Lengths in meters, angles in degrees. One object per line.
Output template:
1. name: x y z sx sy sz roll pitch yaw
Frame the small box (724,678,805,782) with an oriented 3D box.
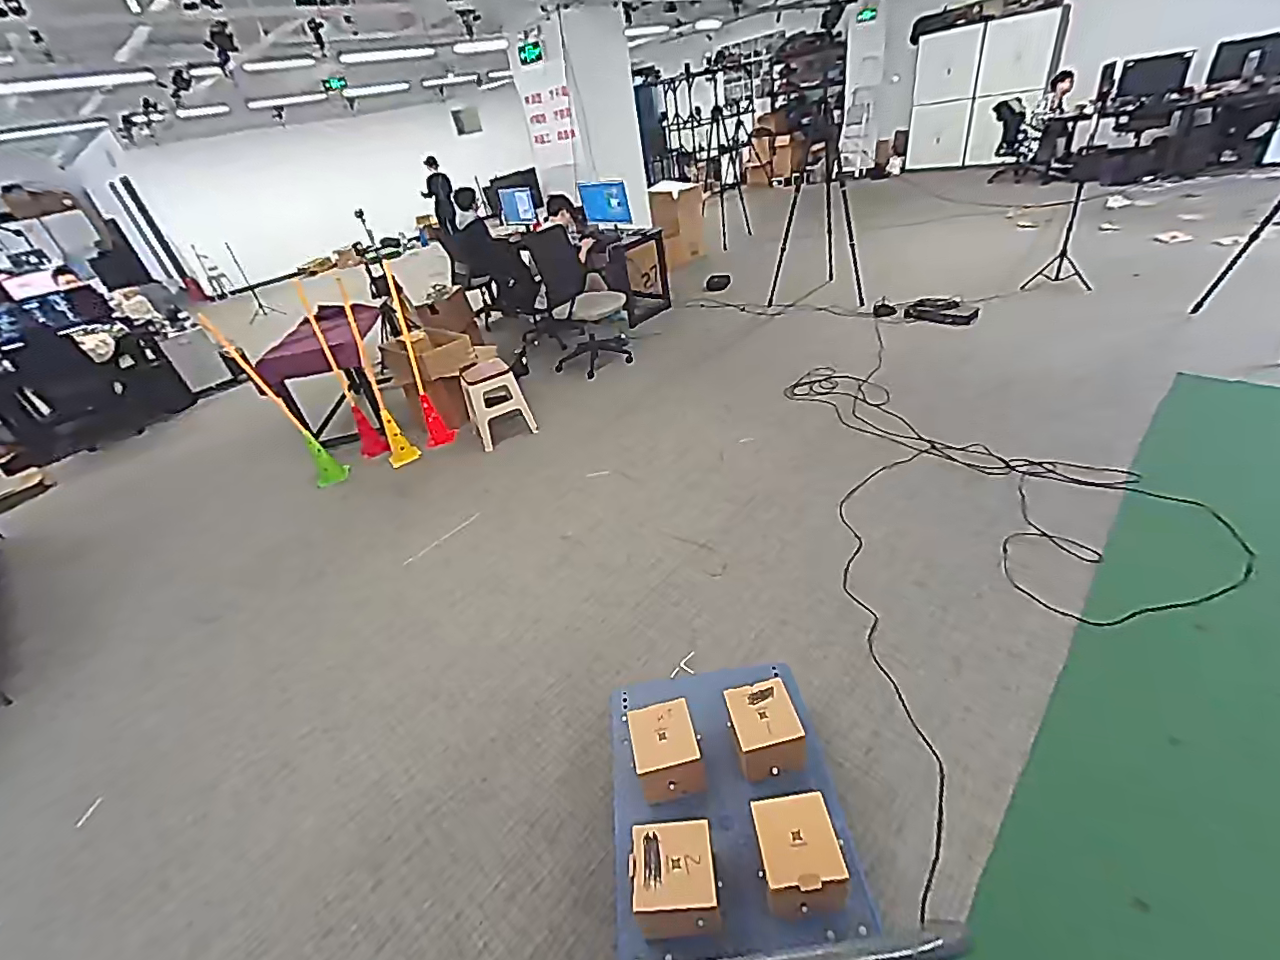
1. small box: 0.332 0.672 1.456 0.168 0.176 0.179 -13 35 -2

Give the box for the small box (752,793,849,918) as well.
1. small box: 0.350 0.841 1.213 0.168 0.176 0.179 -10 35 1

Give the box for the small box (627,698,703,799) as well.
1. small box: 0.068 0.726 1.451 0.168 0.176 0.179 -12 34 -3
